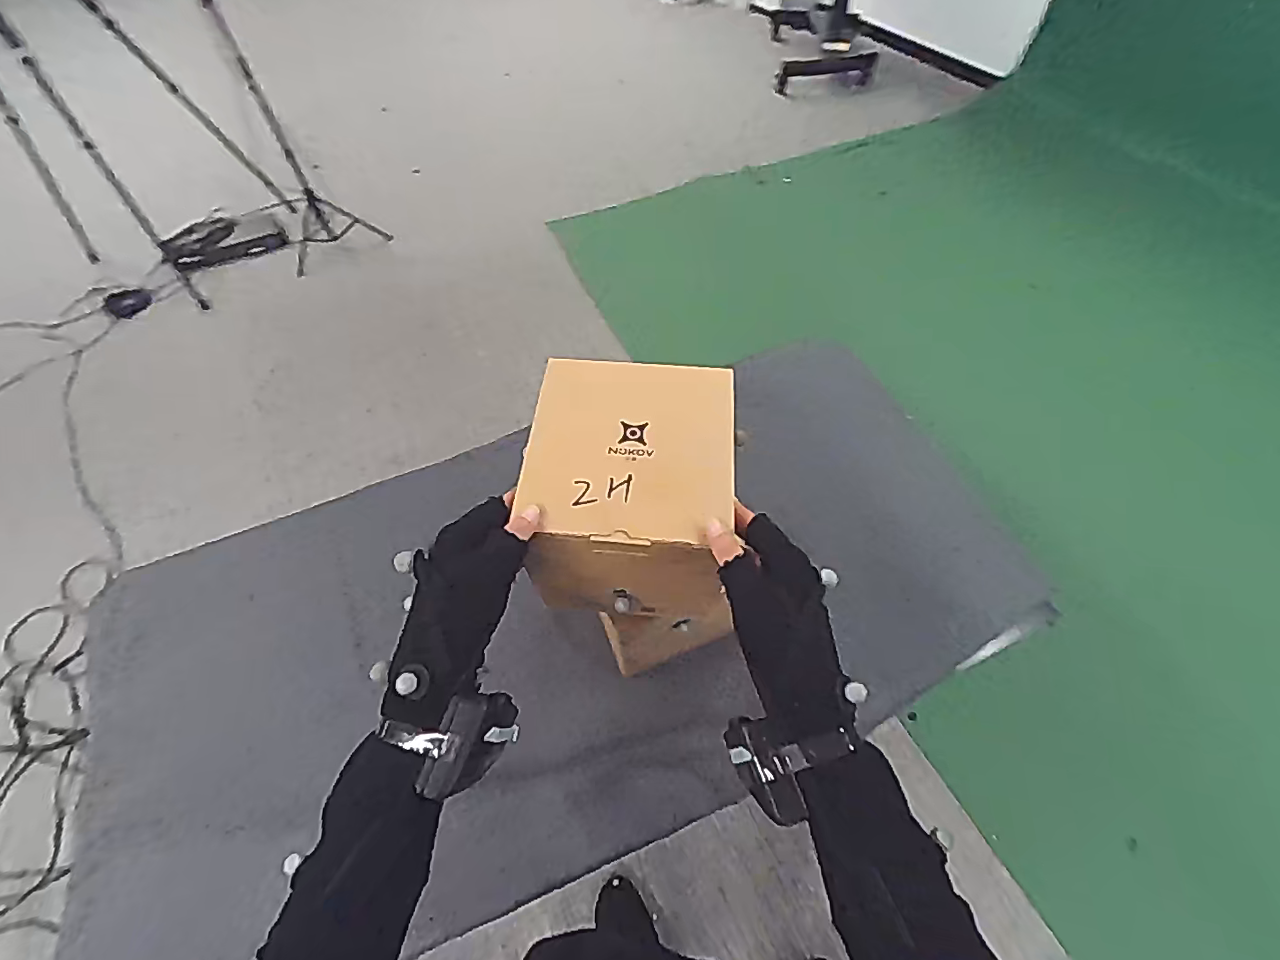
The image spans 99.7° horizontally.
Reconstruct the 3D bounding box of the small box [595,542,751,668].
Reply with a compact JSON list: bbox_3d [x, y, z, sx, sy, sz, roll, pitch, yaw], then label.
[{"bbox_3d":[0.020,0.118,0.698,0.179,0.176,0.168,-19,57,-13],"label":"small box"}]

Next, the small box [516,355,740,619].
[{"bbox_3d":[-0.002,0.011,0.502,0.168,0.176,0.179,5,58,4],"label":"small box"}]
